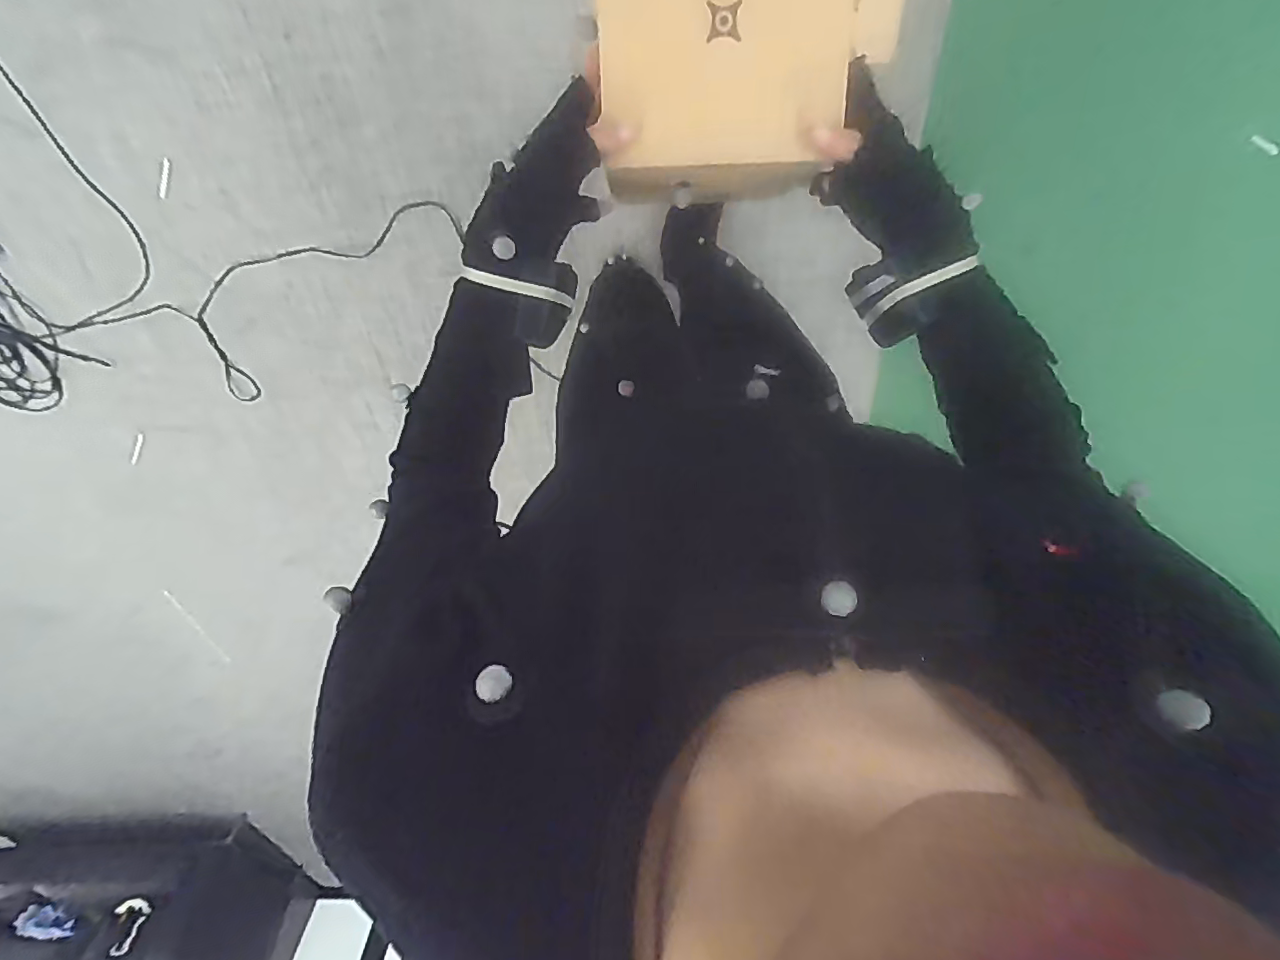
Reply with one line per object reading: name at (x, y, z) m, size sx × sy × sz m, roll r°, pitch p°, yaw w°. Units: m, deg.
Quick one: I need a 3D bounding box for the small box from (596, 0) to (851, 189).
small box at (0.054, -0.335, 0.420) m, size 0.168 × 0.176 × 0.179 m, roll -2°, pitch 108°, yaw 1°

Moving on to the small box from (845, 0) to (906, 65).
small box at (0.353, -0.836, 0.942) m, size 0.168 × 0.176 × 0.179 m, roll 0°, pitch 127°, yaw 2°
